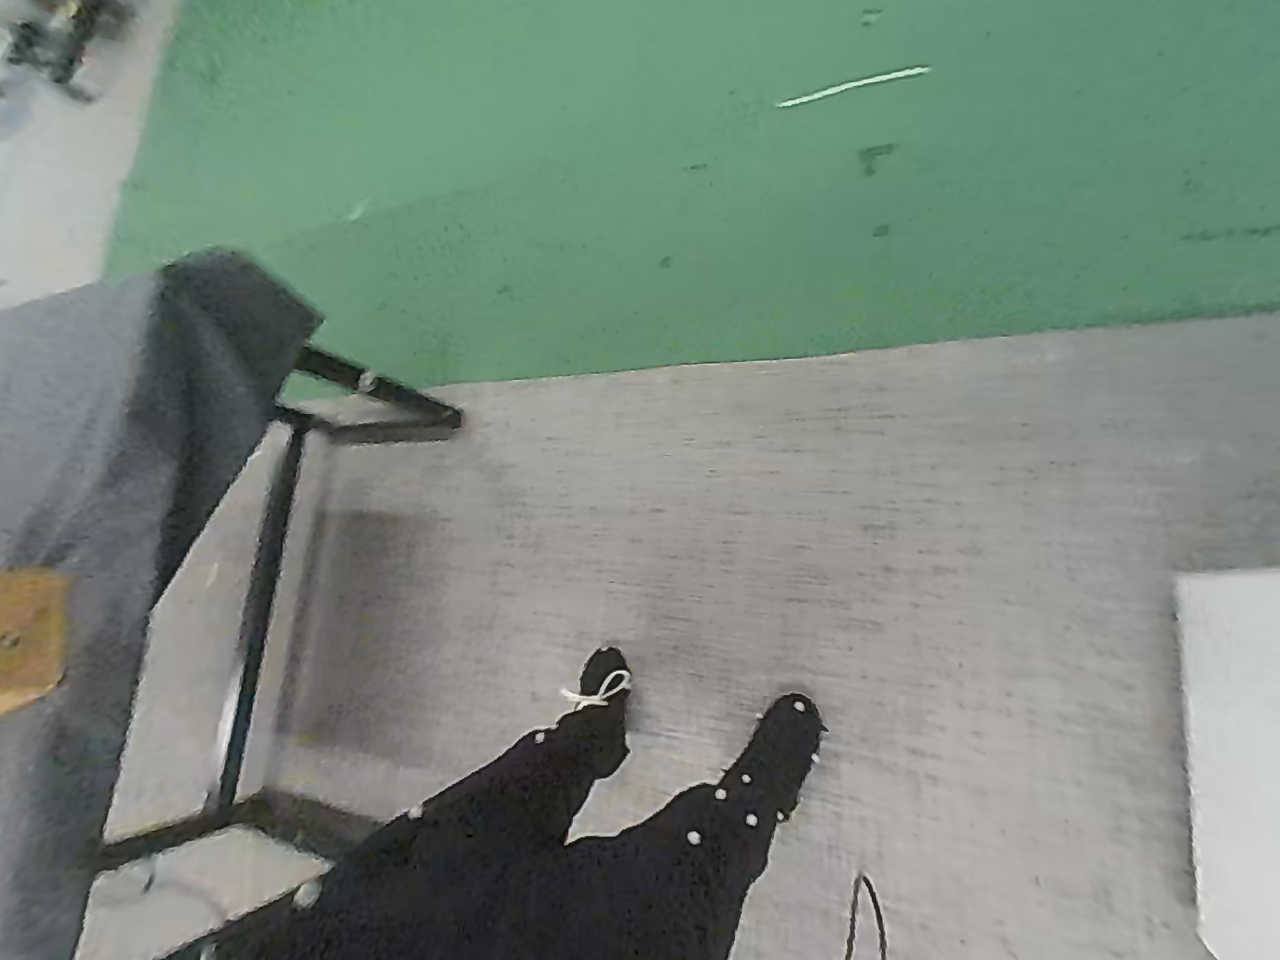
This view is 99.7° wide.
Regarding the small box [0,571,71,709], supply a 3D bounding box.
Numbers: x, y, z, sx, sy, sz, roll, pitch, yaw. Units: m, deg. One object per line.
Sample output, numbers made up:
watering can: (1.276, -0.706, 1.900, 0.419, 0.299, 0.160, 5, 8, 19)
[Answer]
small box: (-0.938, 0.227, 0.737, 0.179, 0.176, 0.168, -22, 71, 18)
